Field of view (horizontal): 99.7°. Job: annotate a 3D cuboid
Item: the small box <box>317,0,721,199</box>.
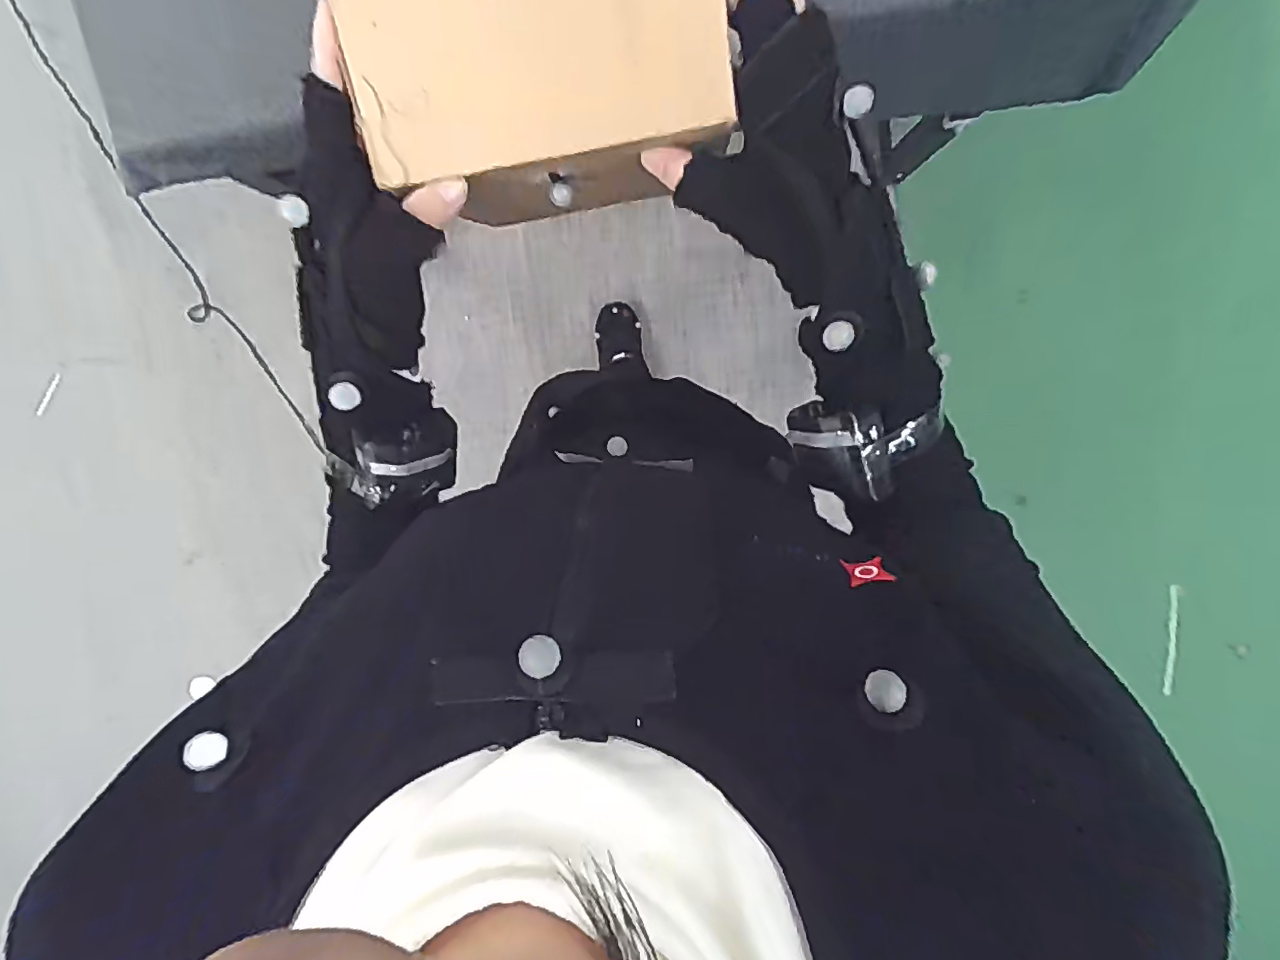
[{"bbox_3d":[-0.052,-0.264,0.294,0.179,0.176,0.168,-6,110,8],"label":"small box"}]
